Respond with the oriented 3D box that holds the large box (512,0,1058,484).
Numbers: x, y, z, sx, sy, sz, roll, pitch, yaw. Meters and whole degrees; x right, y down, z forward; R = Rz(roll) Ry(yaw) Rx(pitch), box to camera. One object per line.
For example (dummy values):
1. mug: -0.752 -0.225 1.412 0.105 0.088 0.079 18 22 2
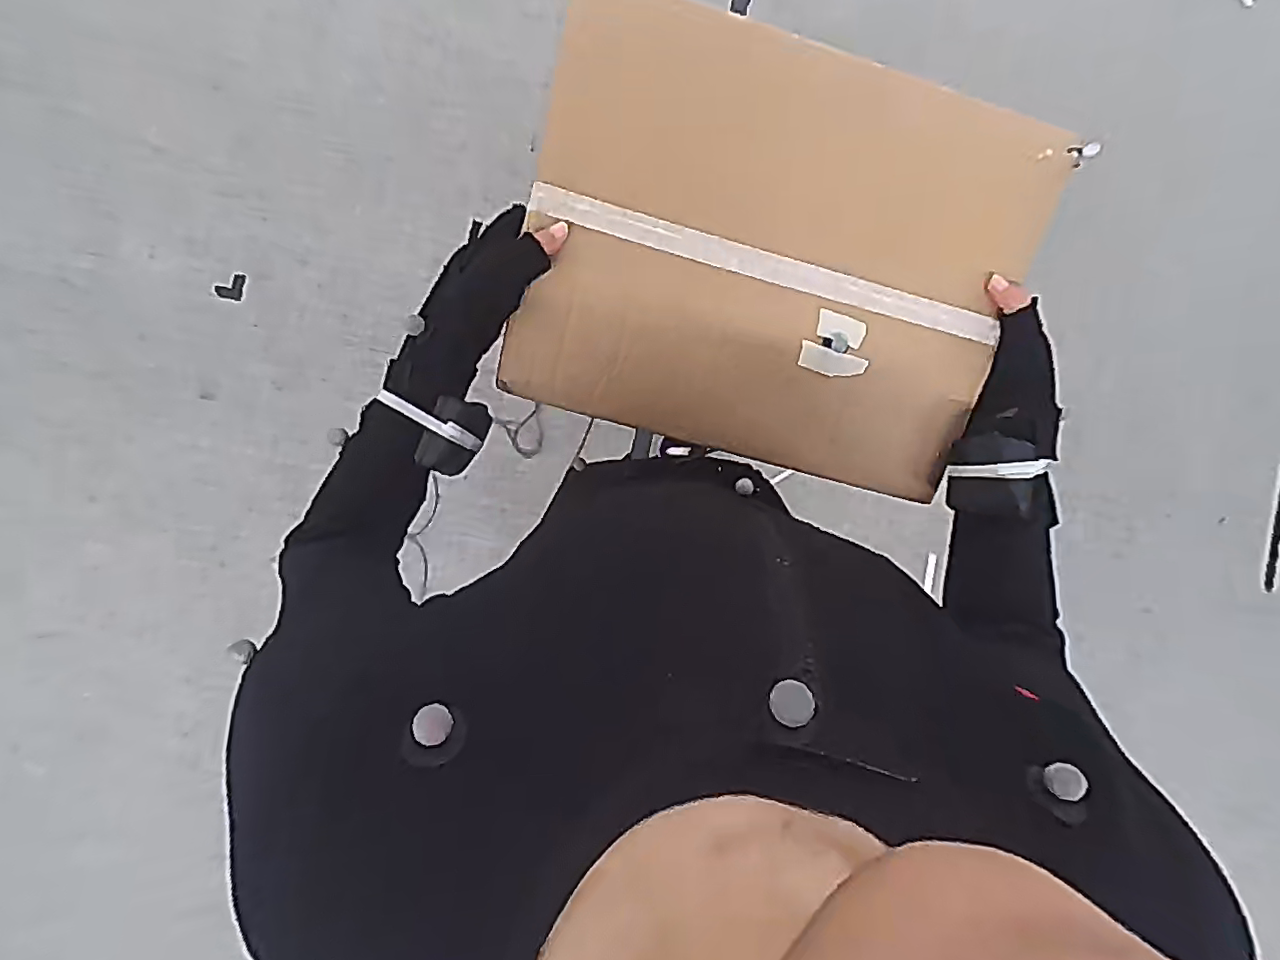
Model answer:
1. large box: 0.107 -0.222 0.601 0.408 0.320 0.320 15 106 -6
